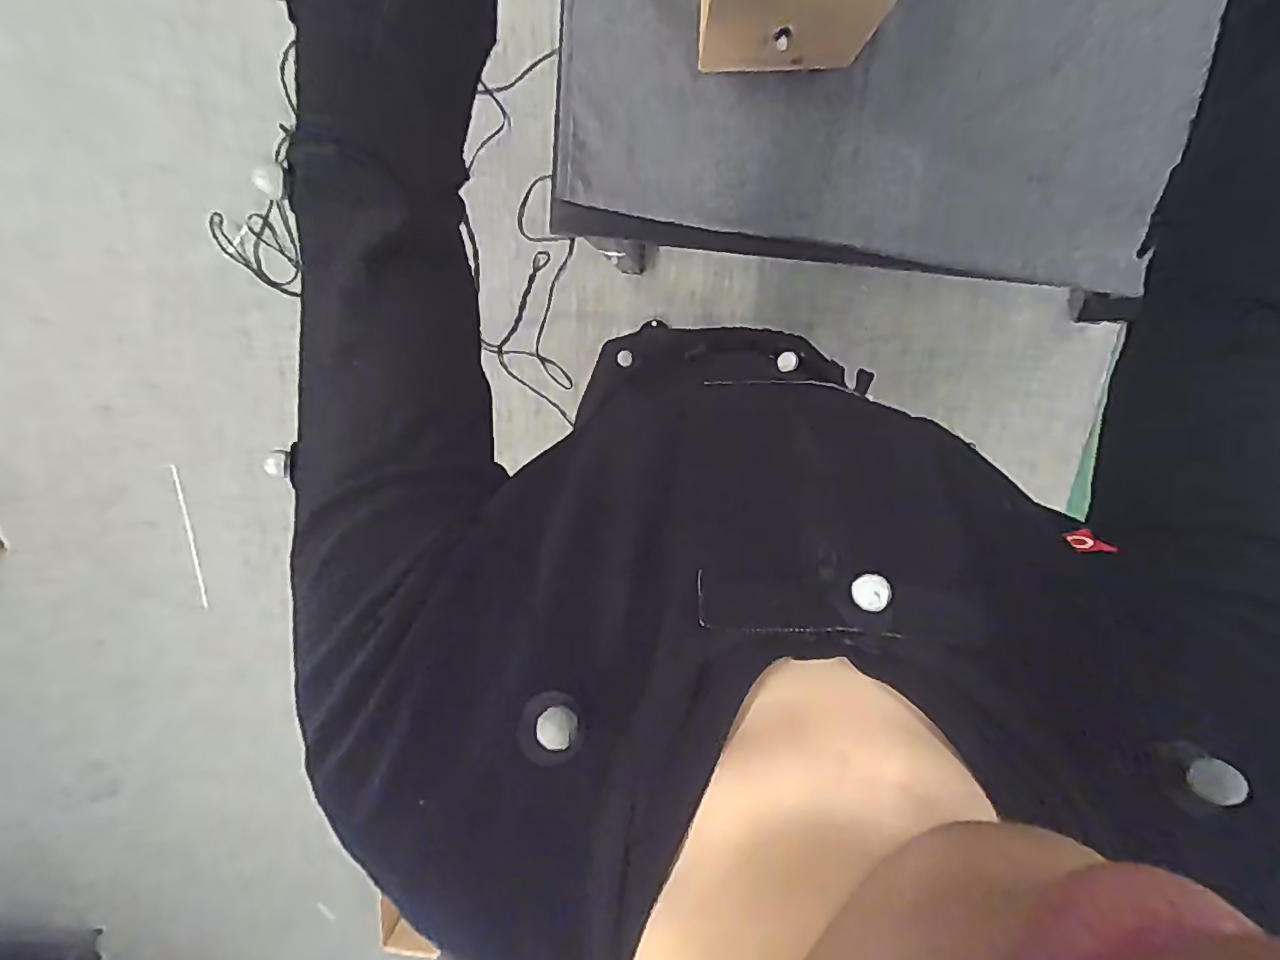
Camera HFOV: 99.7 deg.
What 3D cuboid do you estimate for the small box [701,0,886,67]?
[{"bbox_3d":[0.145,-0.512,0.497,0.168,0.176,0.179,1,105,2],"label":"small box"}]
